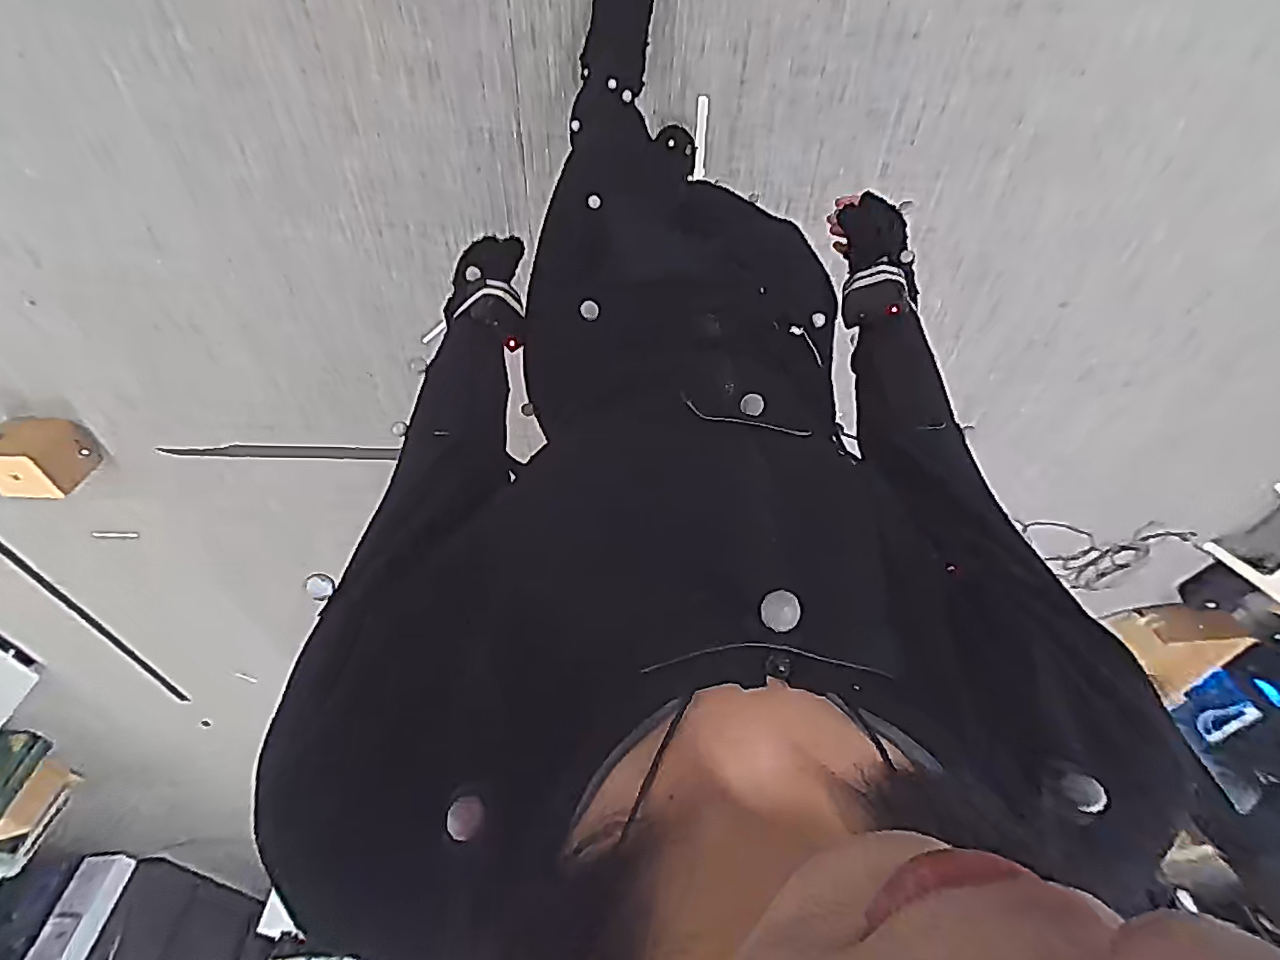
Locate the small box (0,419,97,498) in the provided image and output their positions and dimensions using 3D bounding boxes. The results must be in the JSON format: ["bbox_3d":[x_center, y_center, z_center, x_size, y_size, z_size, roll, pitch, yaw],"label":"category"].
[{"bbox_3d":[-1.782,-0.065,1.586,0.179,0.176,0.168,0,134,-4],"label":"small box"}]
